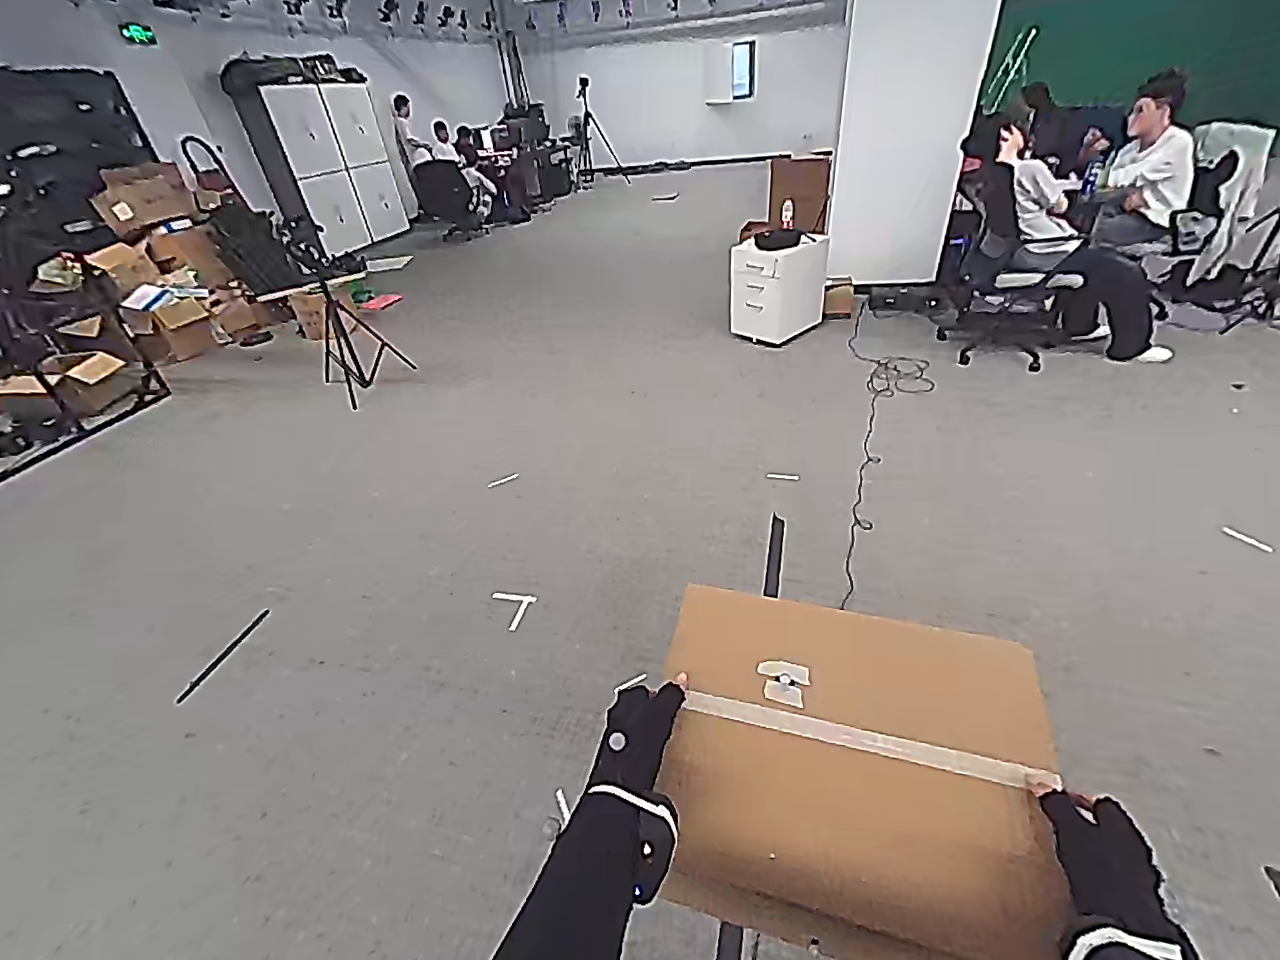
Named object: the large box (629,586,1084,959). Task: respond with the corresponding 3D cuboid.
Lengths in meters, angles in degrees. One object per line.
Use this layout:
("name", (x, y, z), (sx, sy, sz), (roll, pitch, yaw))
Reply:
("large box", (0.235, 0.376, 0.698), (0.408, 0.320, 0.320), (7, 47, 15))
